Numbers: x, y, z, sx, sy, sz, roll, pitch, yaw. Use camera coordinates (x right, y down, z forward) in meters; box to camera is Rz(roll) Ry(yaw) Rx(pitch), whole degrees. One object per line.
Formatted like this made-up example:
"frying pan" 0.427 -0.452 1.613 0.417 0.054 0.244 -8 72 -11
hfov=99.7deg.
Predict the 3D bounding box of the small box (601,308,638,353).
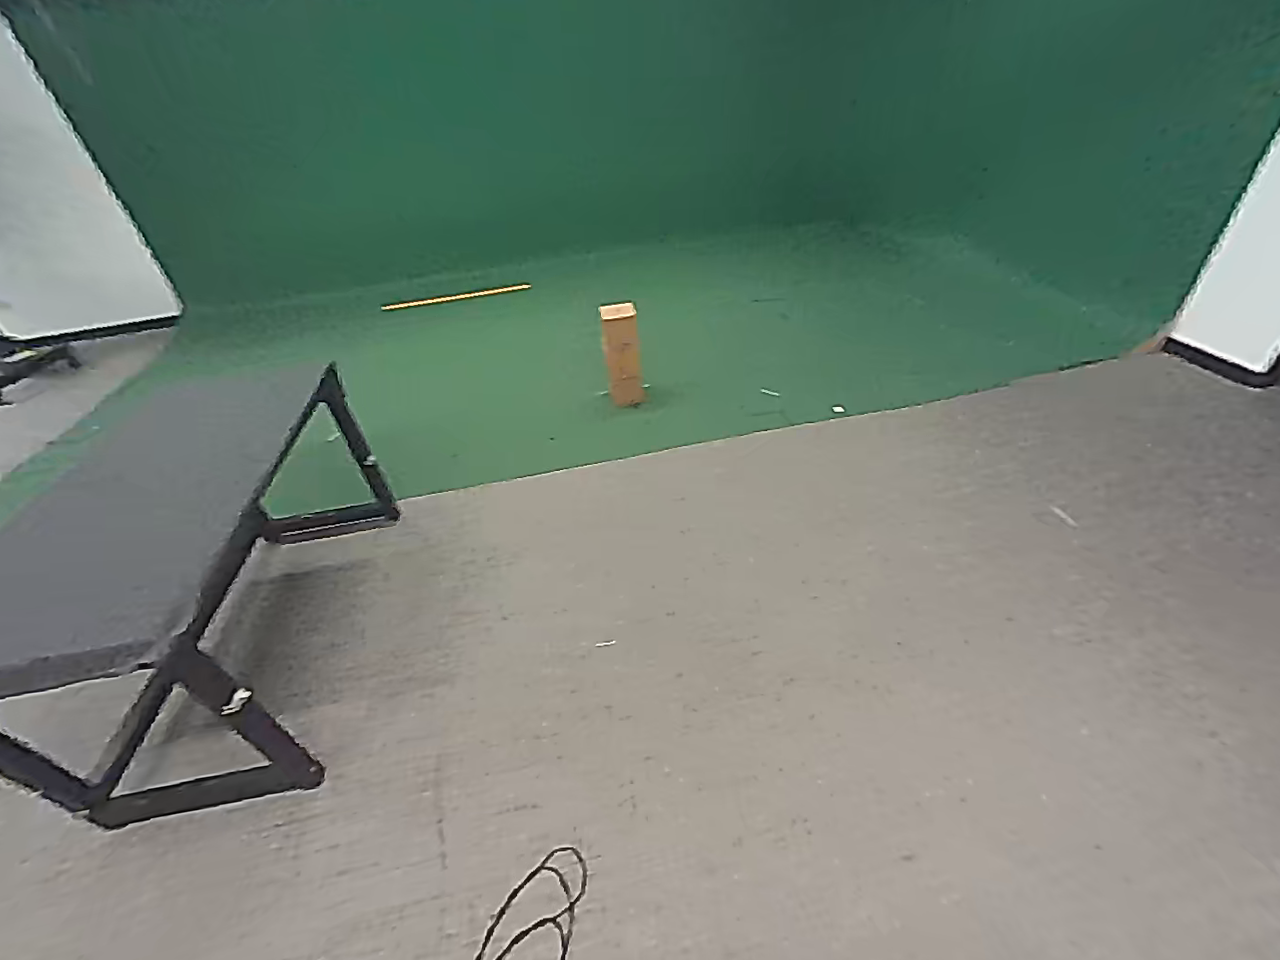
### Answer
"small box" -0.105 -0.766 2.771 0.168 0.176 0.179 -9 38 -5

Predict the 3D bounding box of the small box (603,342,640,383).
"small box" -0.099 -0.632 2.868 0.168 0.176 0.179 -10 38 -6
